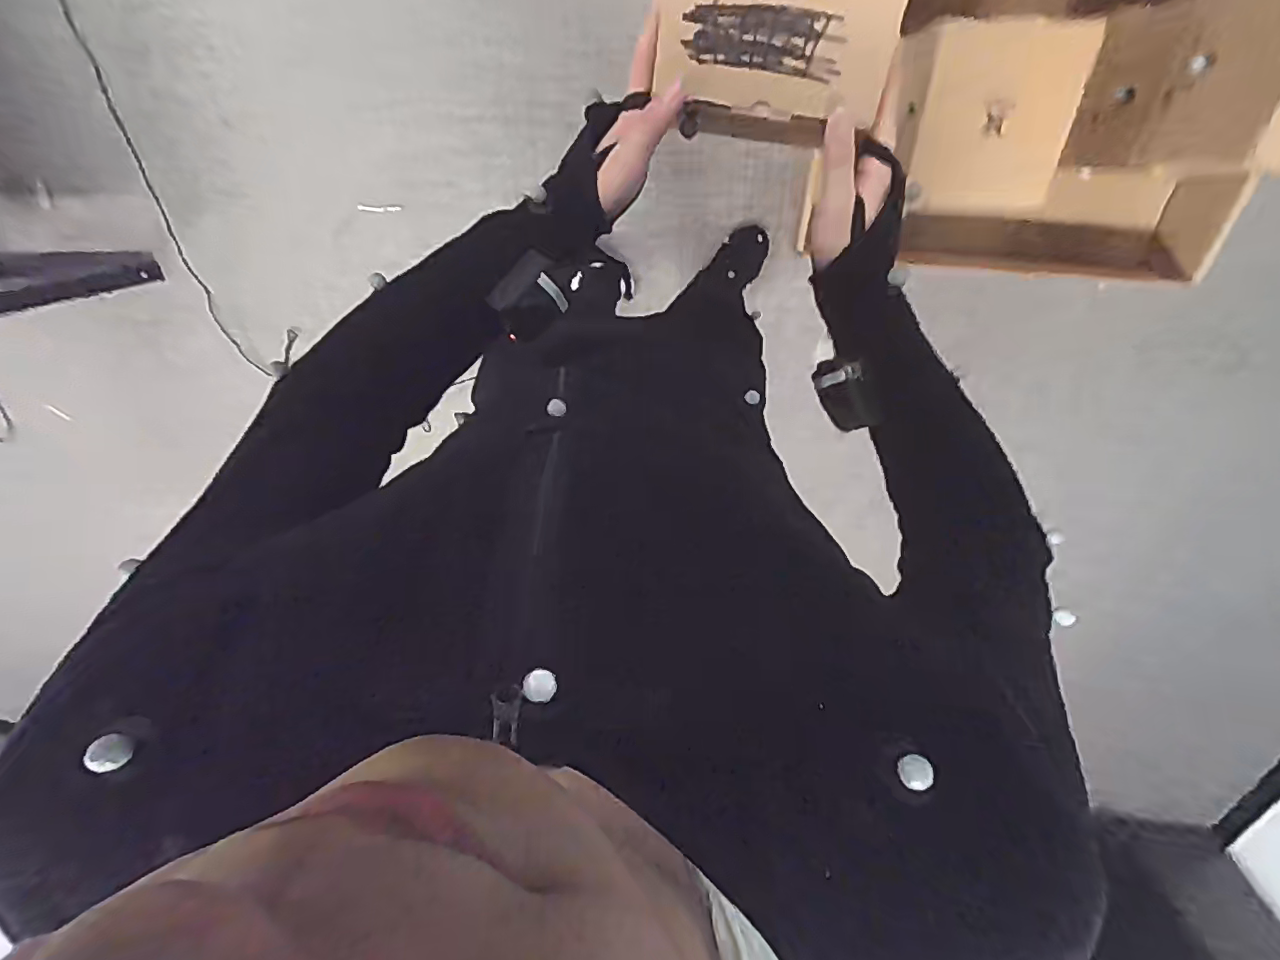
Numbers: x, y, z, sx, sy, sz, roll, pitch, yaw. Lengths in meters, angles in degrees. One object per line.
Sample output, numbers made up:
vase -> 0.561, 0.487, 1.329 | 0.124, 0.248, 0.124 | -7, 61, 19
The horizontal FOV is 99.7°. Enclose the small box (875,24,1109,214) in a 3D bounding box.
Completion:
small box -> 0.410, -0.440, 0.673 | 0.168, 0.176, 0.179 | 5, 121, 5

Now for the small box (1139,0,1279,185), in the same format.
small box -> 0.631, -0.364, 0.488 | 0.179, 0.176, 0.168 | 9, 121, 5

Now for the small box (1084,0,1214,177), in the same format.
small box -> 0.672, -0.448, 0.626 | 0.179, 0.176, 0.168 | 3, 122, 9
